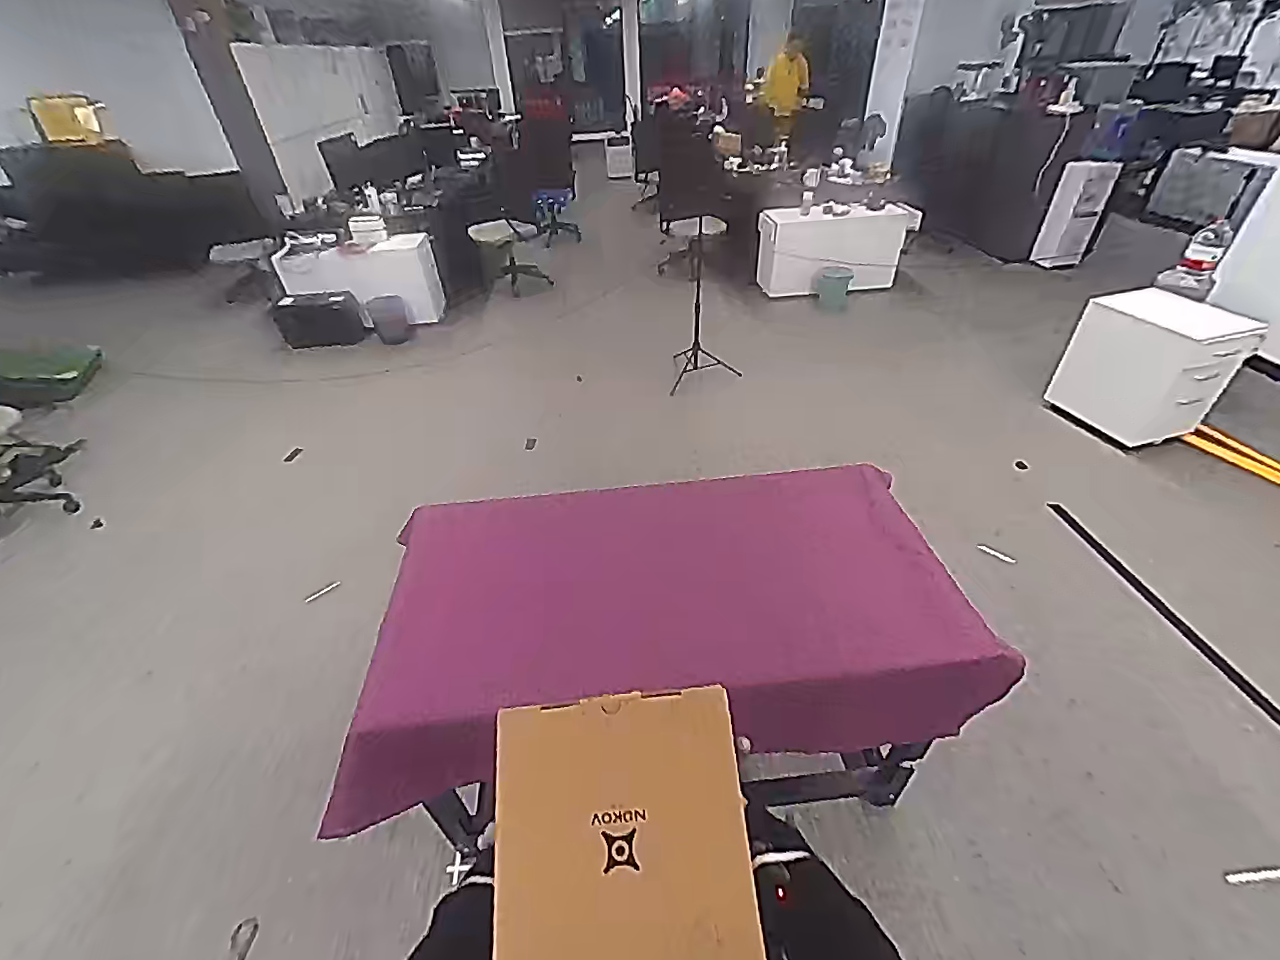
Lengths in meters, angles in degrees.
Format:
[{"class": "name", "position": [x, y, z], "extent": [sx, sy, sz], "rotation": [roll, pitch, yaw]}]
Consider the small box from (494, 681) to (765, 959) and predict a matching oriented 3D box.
[{"class": "small box", "position": [-0.007, 0.263, 0.421], "extent": [0.168, 0.176, 0.179], "rotation": [-6, 63, 0]}]
